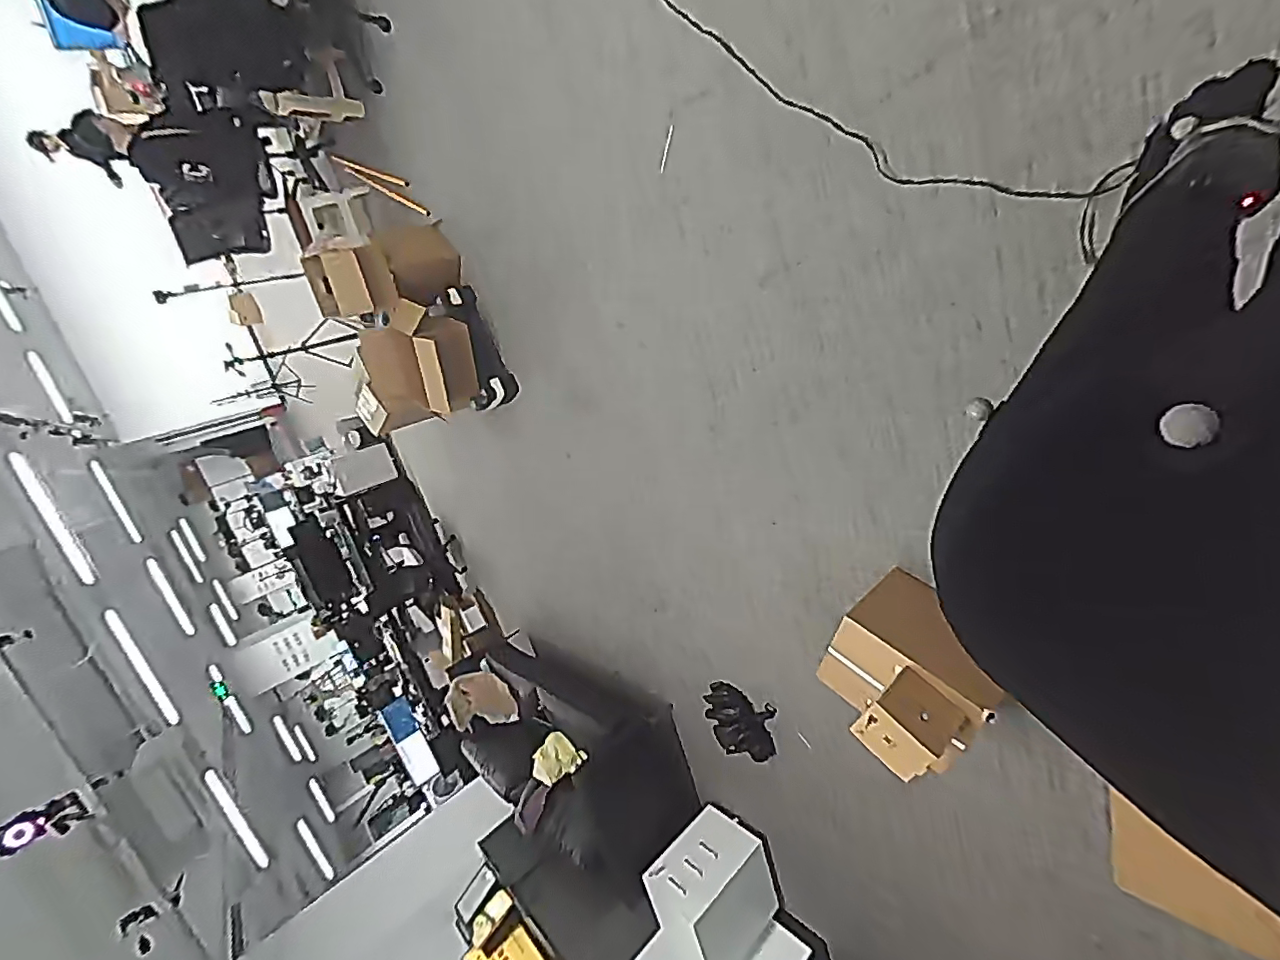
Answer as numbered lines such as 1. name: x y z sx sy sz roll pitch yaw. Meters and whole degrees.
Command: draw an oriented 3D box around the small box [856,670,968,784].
1. small box: 0.705 0.632 1.399 0.179 0.176 0.168 40 140 32
